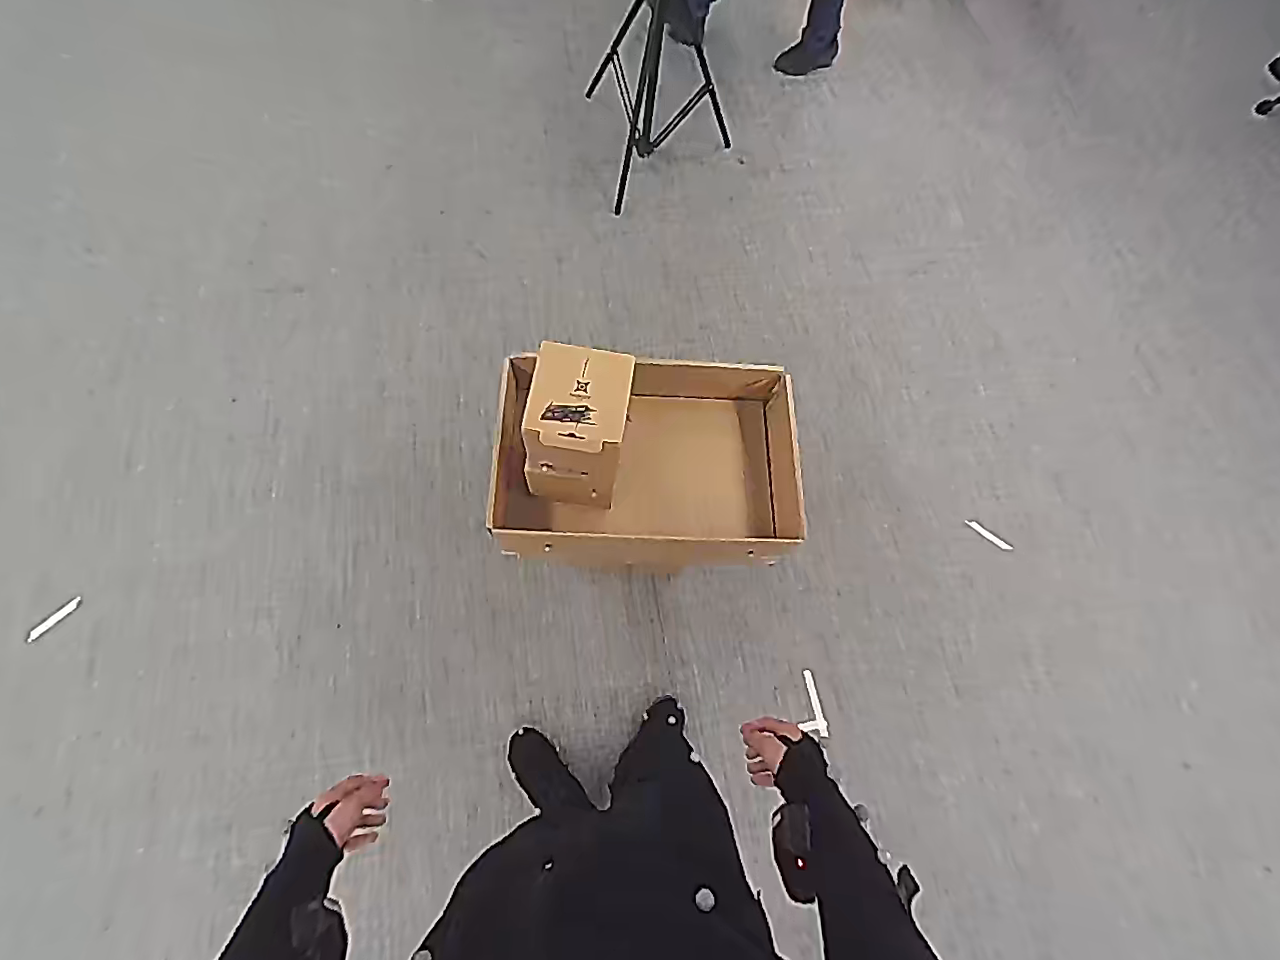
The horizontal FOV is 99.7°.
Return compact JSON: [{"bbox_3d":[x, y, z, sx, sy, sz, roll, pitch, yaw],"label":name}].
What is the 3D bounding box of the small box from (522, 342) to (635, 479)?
[{"bbox_3d":[-0.106,-0.117,0.974,0.168,0.176,0.179,9,68,-2],"label":"small box"}]
